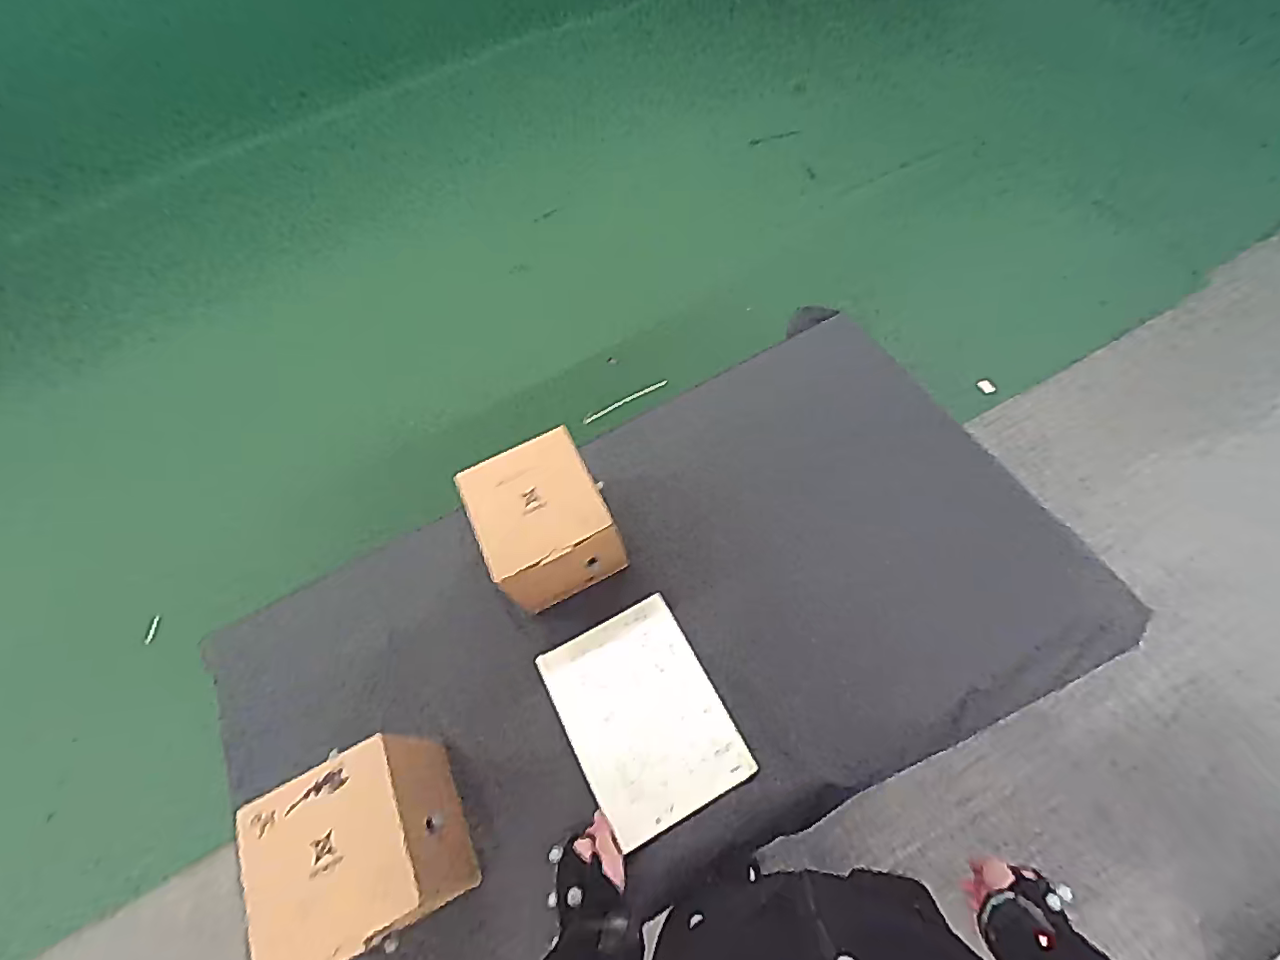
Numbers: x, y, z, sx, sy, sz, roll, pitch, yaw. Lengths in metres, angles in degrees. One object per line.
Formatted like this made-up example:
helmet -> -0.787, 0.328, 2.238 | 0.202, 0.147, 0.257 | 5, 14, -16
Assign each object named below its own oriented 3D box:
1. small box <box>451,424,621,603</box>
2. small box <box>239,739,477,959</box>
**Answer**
small box -> -0.139, 0.058, 0.773 | 0.168, 0.176, 0.179 | -26, 63, -9
small box -> -0.311, 0.422, 0.623 | 0.168, 0.176, 0.179 | -27, 63, -8
